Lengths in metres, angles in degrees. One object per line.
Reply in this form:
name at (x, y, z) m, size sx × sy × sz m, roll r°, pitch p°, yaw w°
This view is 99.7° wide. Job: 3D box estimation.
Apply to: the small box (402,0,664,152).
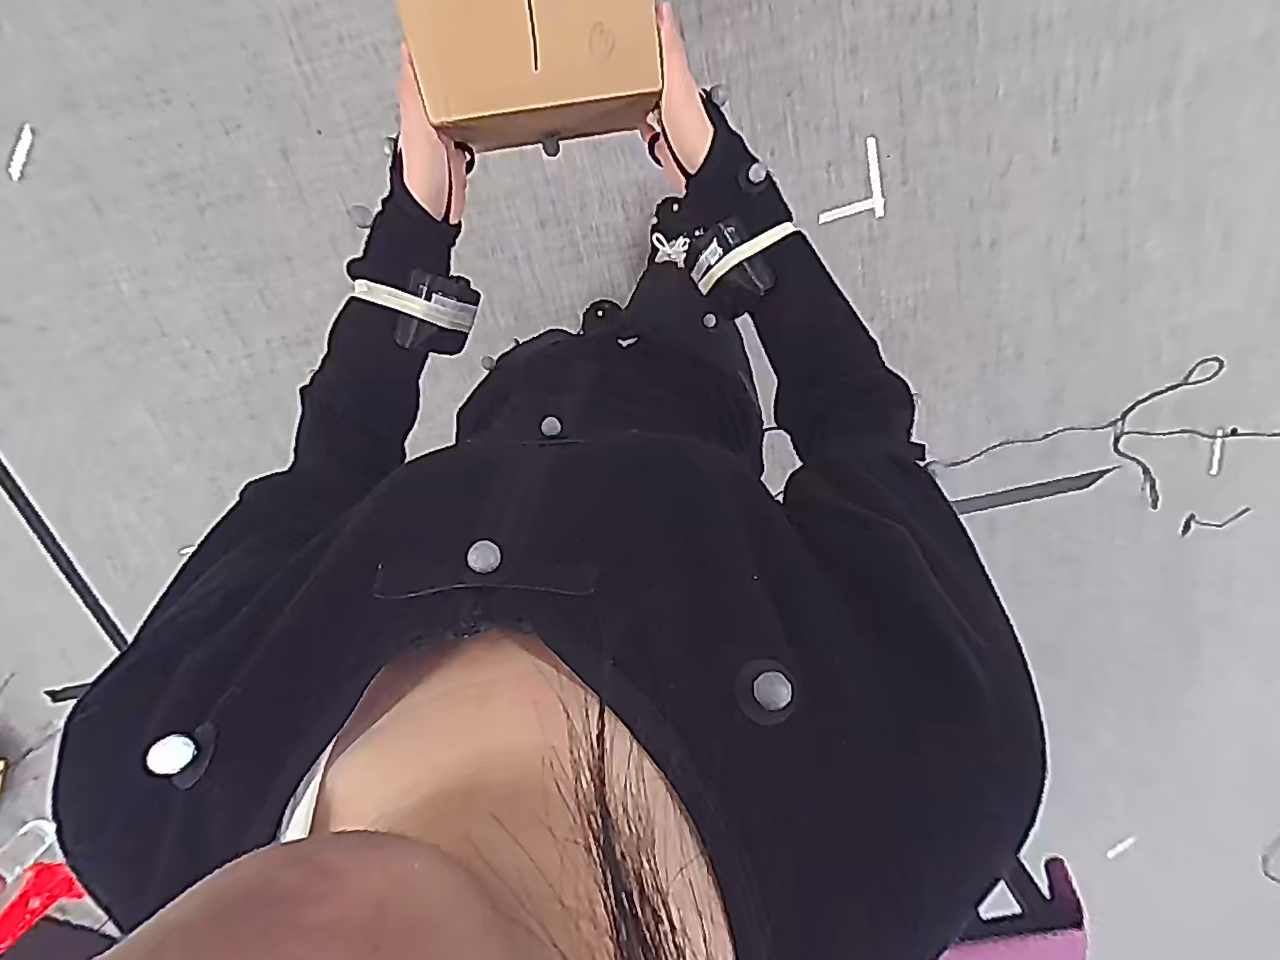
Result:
small box at (-0.081, -0.367, 0.407) m, size 0.168 × 0.176 × 0.179 m, roll -9°, pitch 116°, yaw -1°
